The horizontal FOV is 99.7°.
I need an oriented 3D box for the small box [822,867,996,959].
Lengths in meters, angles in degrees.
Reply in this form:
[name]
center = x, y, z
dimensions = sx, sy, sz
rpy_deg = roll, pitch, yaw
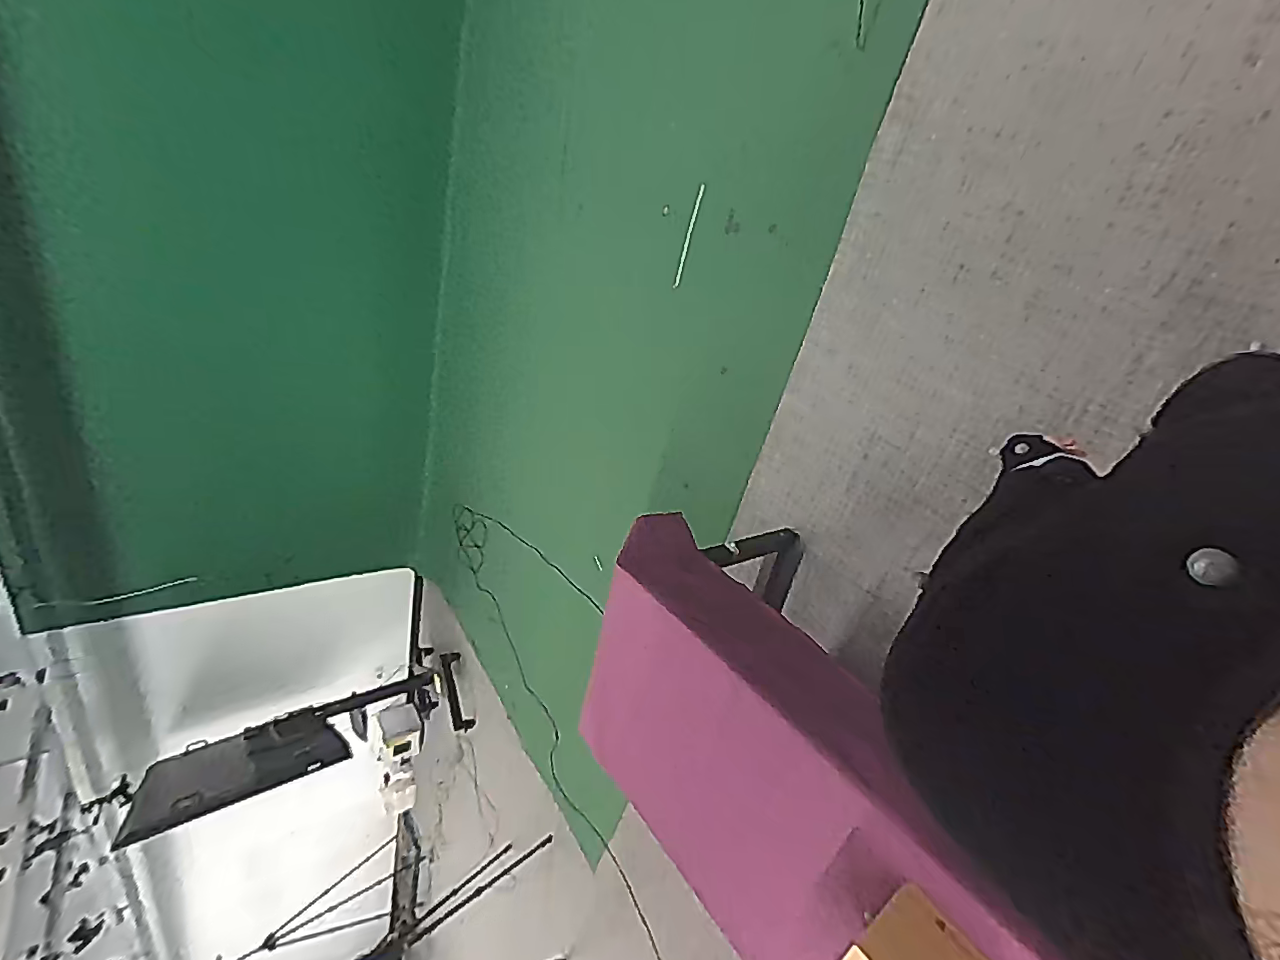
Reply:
[small box]
center = 0.392, 0.738, 0.805
dimensions = 0.168, 0.176, 0.179
rpy_deg = 39, 125, 40
